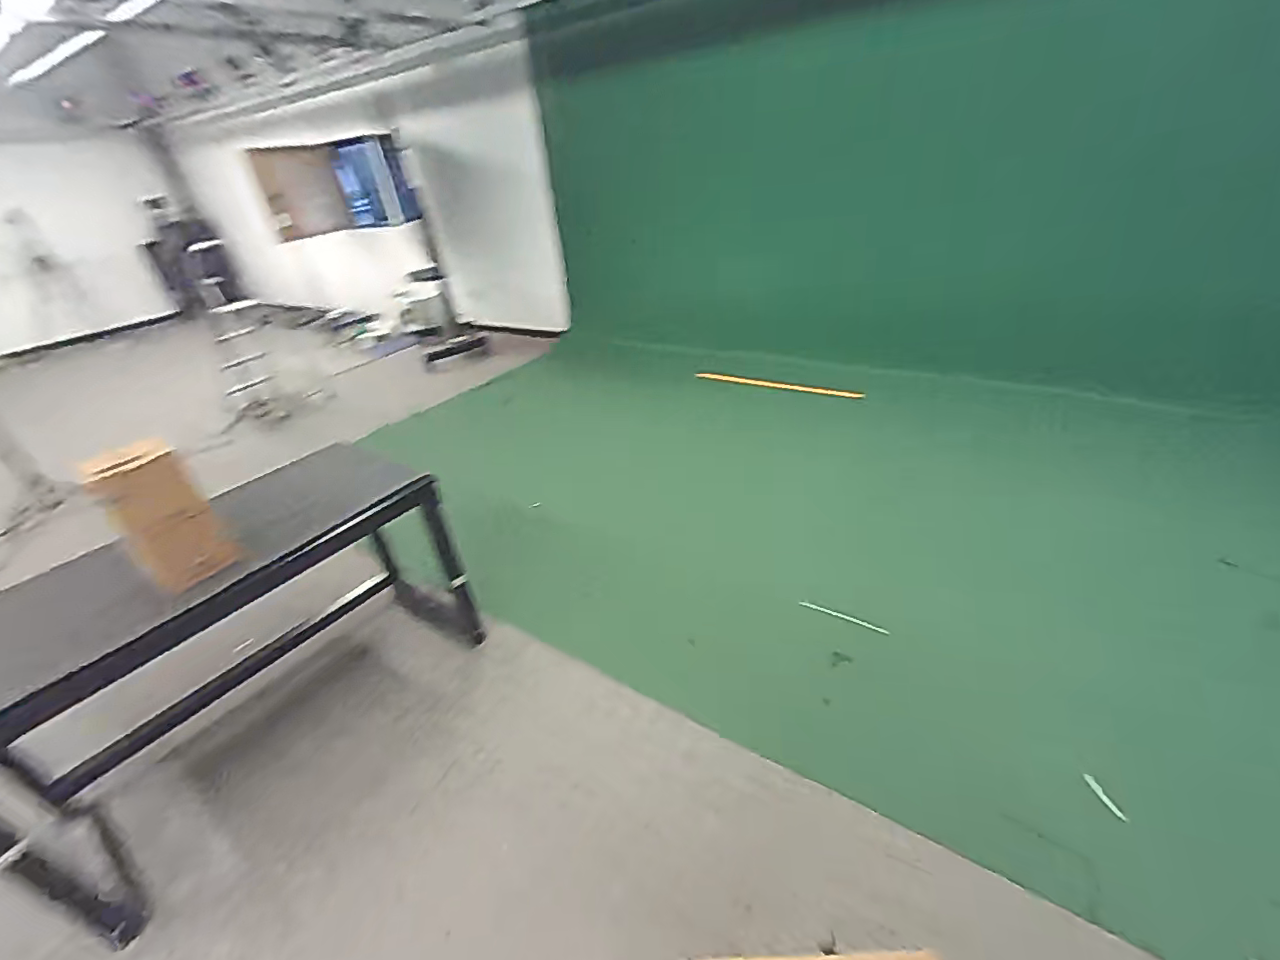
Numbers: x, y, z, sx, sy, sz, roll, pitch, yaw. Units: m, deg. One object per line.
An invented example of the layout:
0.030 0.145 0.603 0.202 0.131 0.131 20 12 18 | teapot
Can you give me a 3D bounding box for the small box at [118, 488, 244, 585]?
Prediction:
-1.174 0.144 1.390 0.179 0.176 0.168 14 37 31 | small box
